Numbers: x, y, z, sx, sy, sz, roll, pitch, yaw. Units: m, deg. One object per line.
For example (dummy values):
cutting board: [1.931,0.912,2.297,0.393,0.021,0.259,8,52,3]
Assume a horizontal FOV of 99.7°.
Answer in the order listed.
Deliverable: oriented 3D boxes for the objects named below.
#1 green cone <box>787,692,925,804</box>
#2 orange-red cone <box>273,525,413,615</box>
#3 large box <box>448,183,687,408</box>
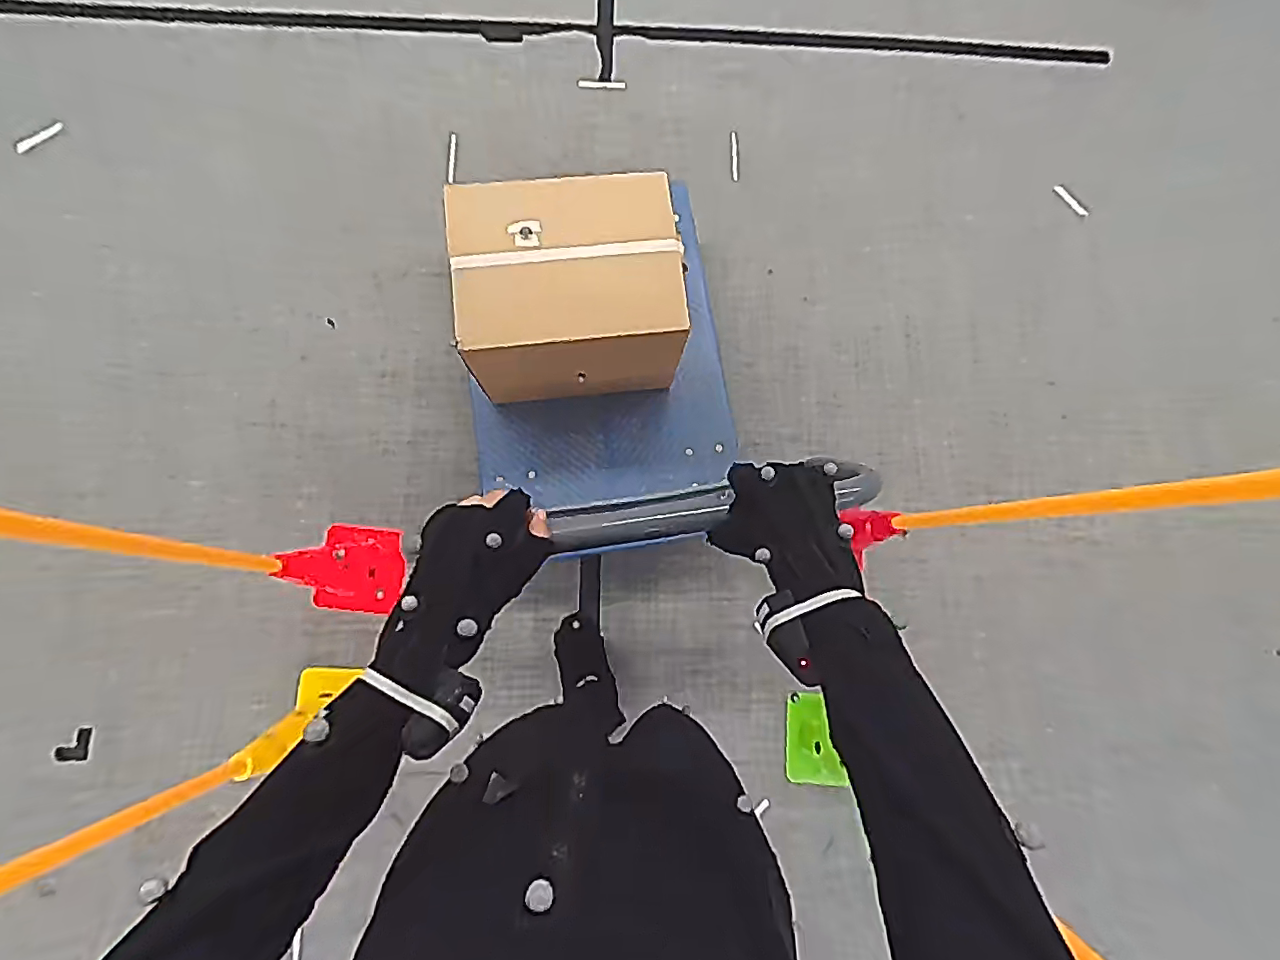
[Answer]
green cone: [0.460,0.583,1.117,0.202,0.368,0.200,5,79,-4]
orange-red cone: [-0.648,0.180,1.132,0.198,0.360,0.199,8,78,-3]
large box: [-0.137,-0.354,1.112,0.408,0.320,0.320,-7,81,-4]
